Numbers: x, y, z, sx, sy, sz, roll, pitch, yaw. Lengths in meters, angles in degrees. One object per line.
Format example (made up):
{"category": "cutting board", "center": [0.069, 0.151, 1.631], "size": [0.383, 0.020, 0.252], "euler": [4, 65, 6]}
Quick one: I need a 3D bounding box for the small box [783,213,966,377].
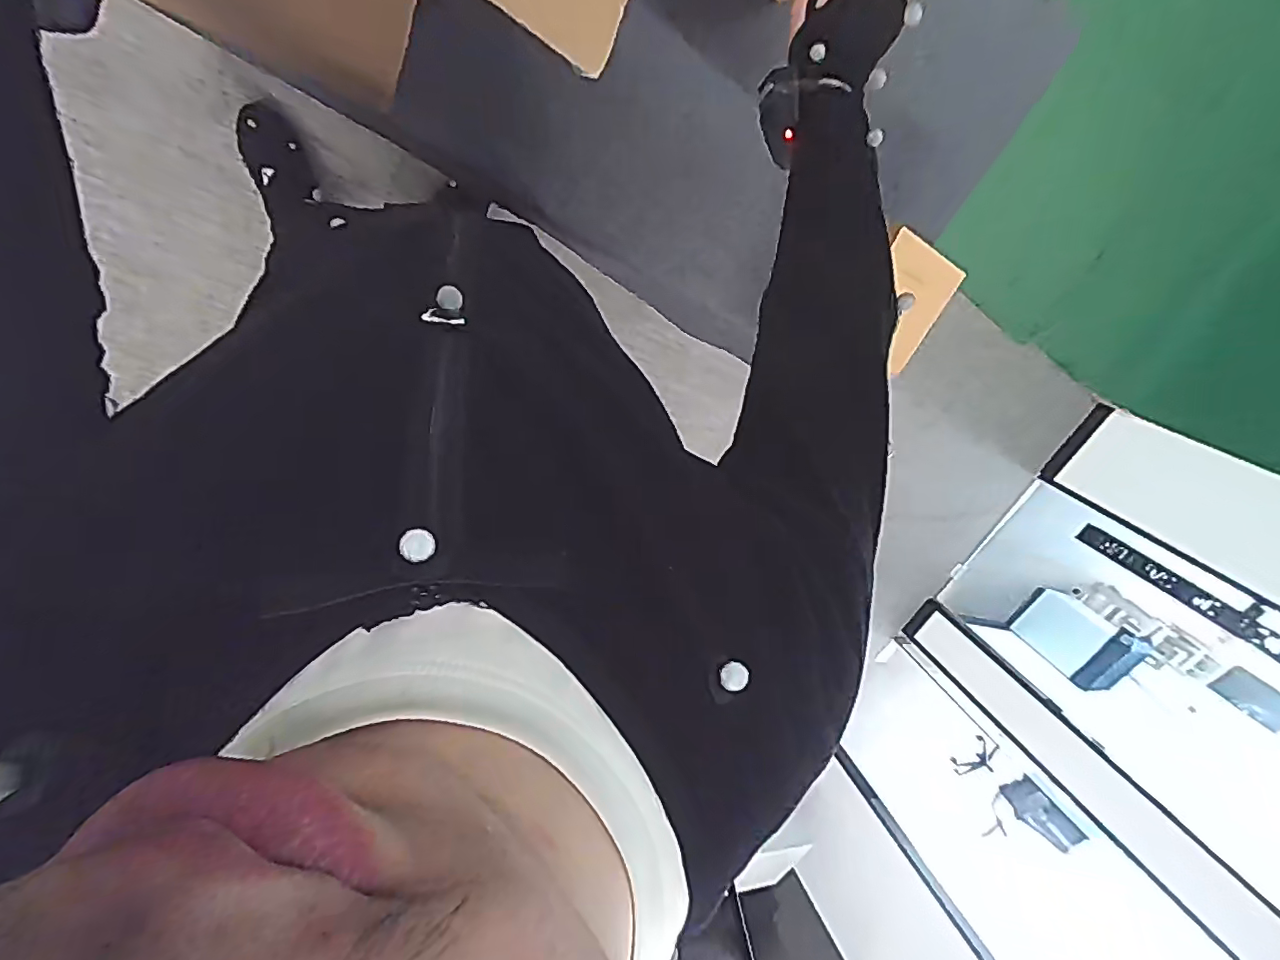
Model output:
{"category": "small box", "center": [0.355, -0.294, 0.855], "size": [0.168, 0.176, 0.179], "euler": [14, 114, -32]}
